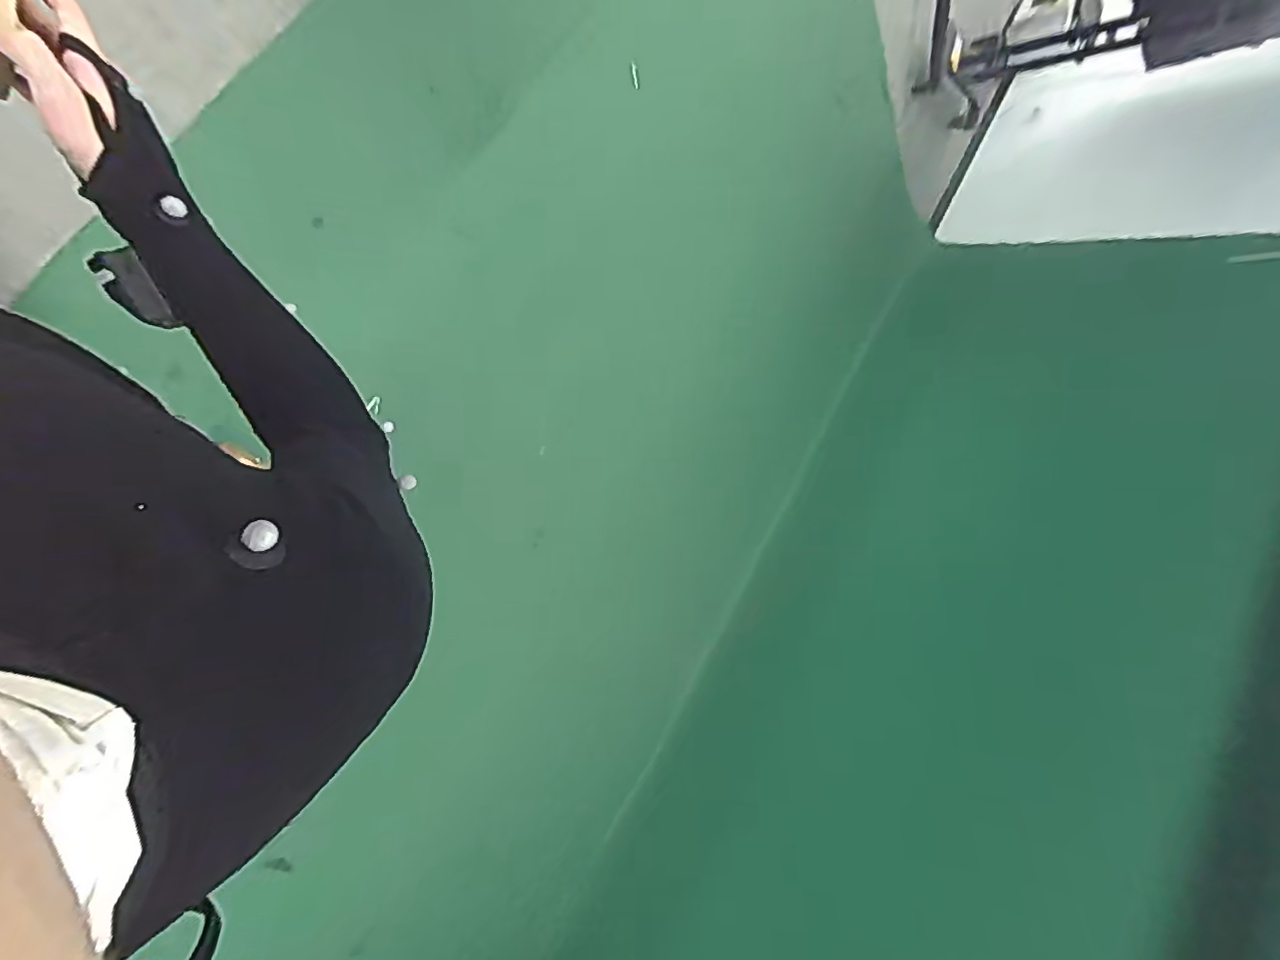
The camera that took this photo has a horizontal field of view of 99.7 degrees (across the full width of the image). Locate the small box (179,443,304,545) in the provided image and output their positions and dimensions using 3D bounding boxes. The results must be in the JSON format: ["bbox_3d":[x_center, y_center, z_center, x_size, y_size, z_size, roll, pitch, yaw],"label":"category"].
[{"bbox_3d":[-0.979,0.028,1.329,0.168,0.176,0.179,-56,136,-15],"label":"small box"}]

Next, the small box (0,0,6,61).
[{"bbox_3d":[-0.531,-0.401,0.339,0.168,0.176,0.179,-3,105,-50],"label":"small box"}]
